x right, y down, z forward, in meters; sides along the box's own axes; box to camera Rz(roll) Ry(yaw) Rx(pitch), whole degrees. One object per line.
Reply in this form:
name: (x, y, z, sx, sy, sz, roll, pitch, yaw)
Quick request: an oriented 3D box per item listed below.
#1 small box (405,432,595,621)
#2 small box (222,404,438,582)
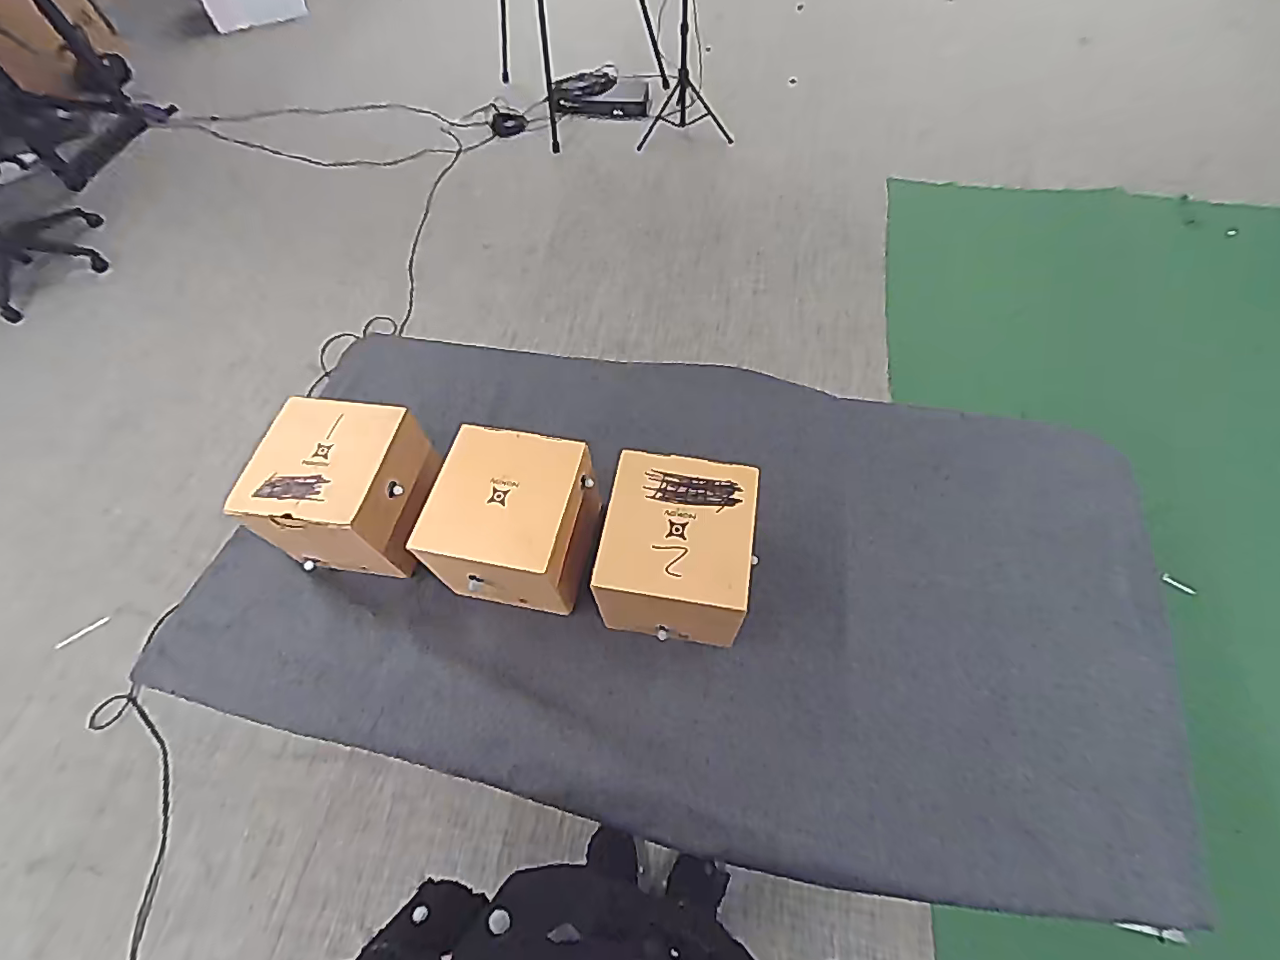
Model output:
small box: (-0.160, 0.065, 0.693, 0.168, 0.176, 0.179, 9, 59, 8)
small box: (-0.390, 0.023, 0.727, 0.168, 0.176, 0.179, 6, 58, 6)
